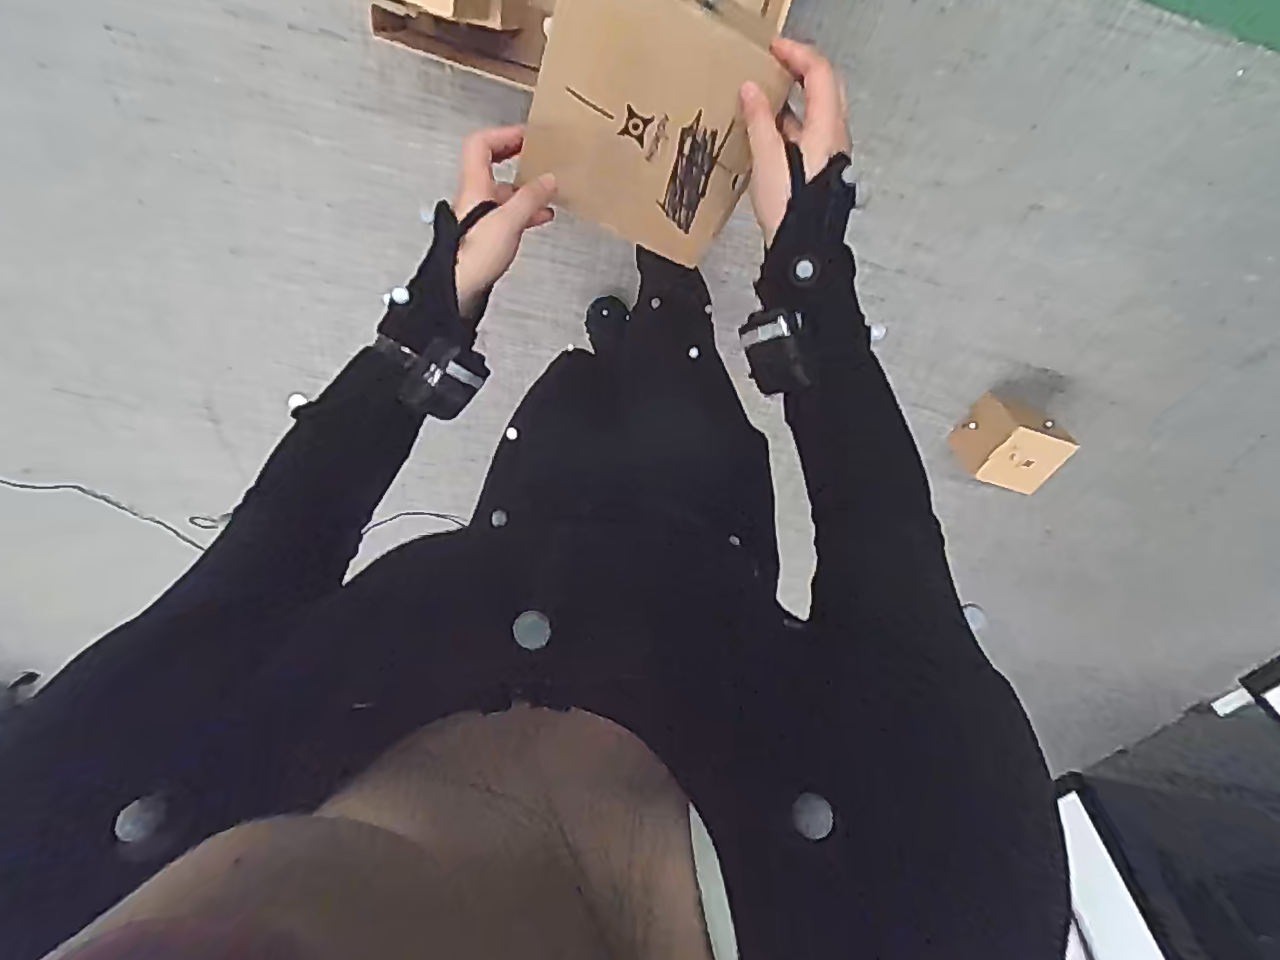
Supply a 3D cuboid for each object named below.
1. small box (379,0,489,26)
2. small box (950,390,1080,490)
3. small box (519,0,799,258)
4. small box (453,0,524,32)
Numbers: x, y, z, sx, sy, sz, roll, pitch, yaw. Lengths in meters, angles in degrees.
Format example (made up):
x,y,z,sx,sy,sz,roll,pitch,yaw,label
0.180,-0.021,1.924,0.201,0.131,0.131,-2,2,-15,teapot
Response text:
x,y,z,sx,sy,sz,roll,pitch,yaw,label
-0.279,-0.692,0.656,0.168,0.176,0.179,14,131,-8,small box
0.939,-0.106,1.372,0.179,0.176,0.168,15,129,-10,small box
0.012,-0.339,0.477,0.179,0.176,0.168,19,137,-15,small box
-0.264,-0.788,0.789,0.168,0.176,0.179,10,132,-5,small box
